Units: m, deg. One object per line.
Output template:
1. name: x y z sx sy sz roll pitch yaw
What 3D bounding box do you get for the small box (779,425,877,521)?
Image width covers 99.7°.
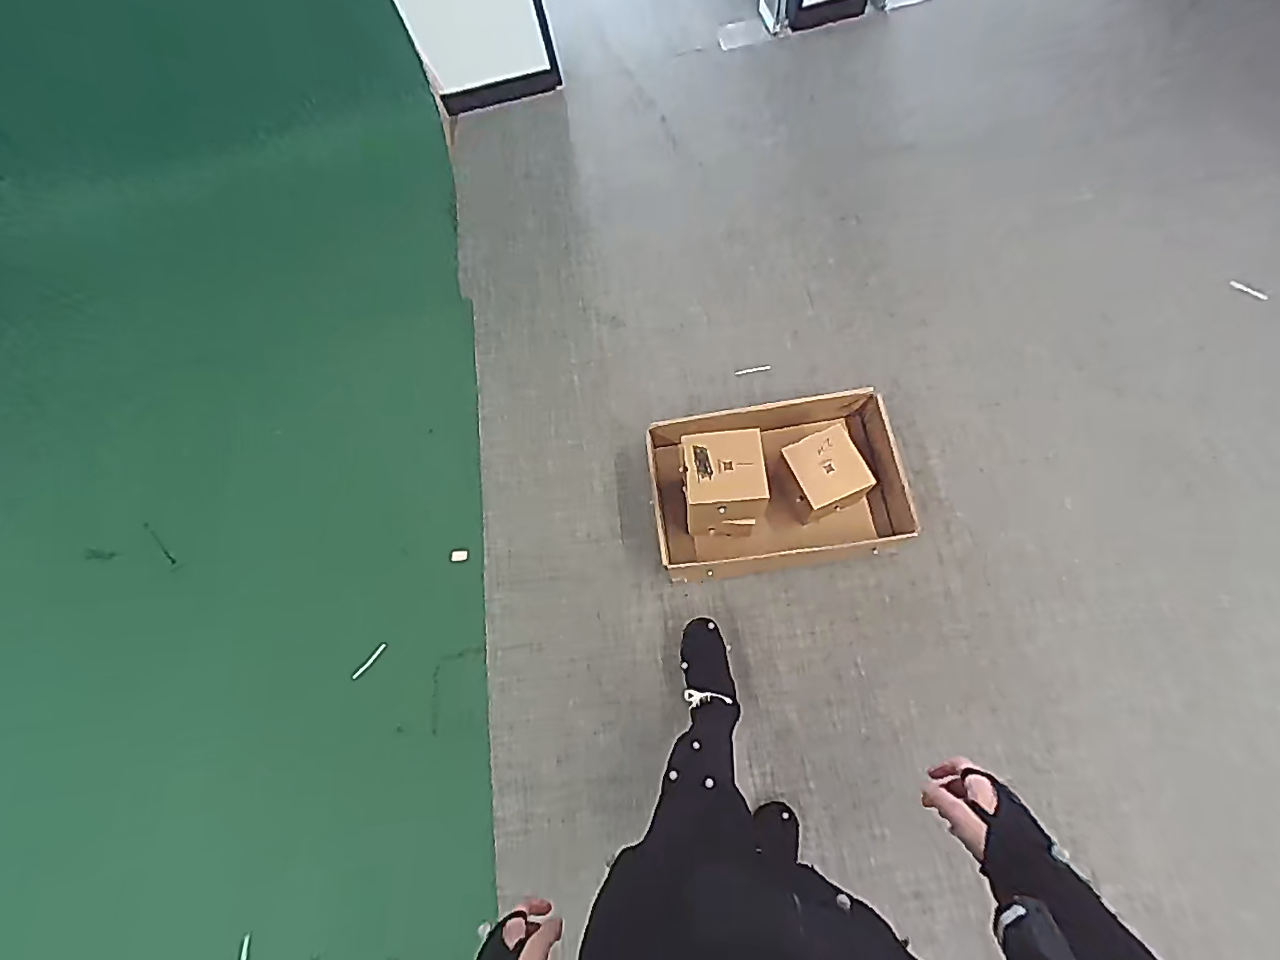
1. small box: 0.472 -0.007 1.385 0.168 0.176 0.179 -23 70 0

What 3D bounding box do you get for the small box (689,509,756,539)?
1. small box: 0.216 0.050 1.402 0.168 0.176 0.179 2 70 8

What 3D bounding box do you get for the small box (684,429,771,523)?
1. small box: 0.196 -0.003 1.248 0.179 0.176 0.168 -5 70 4
